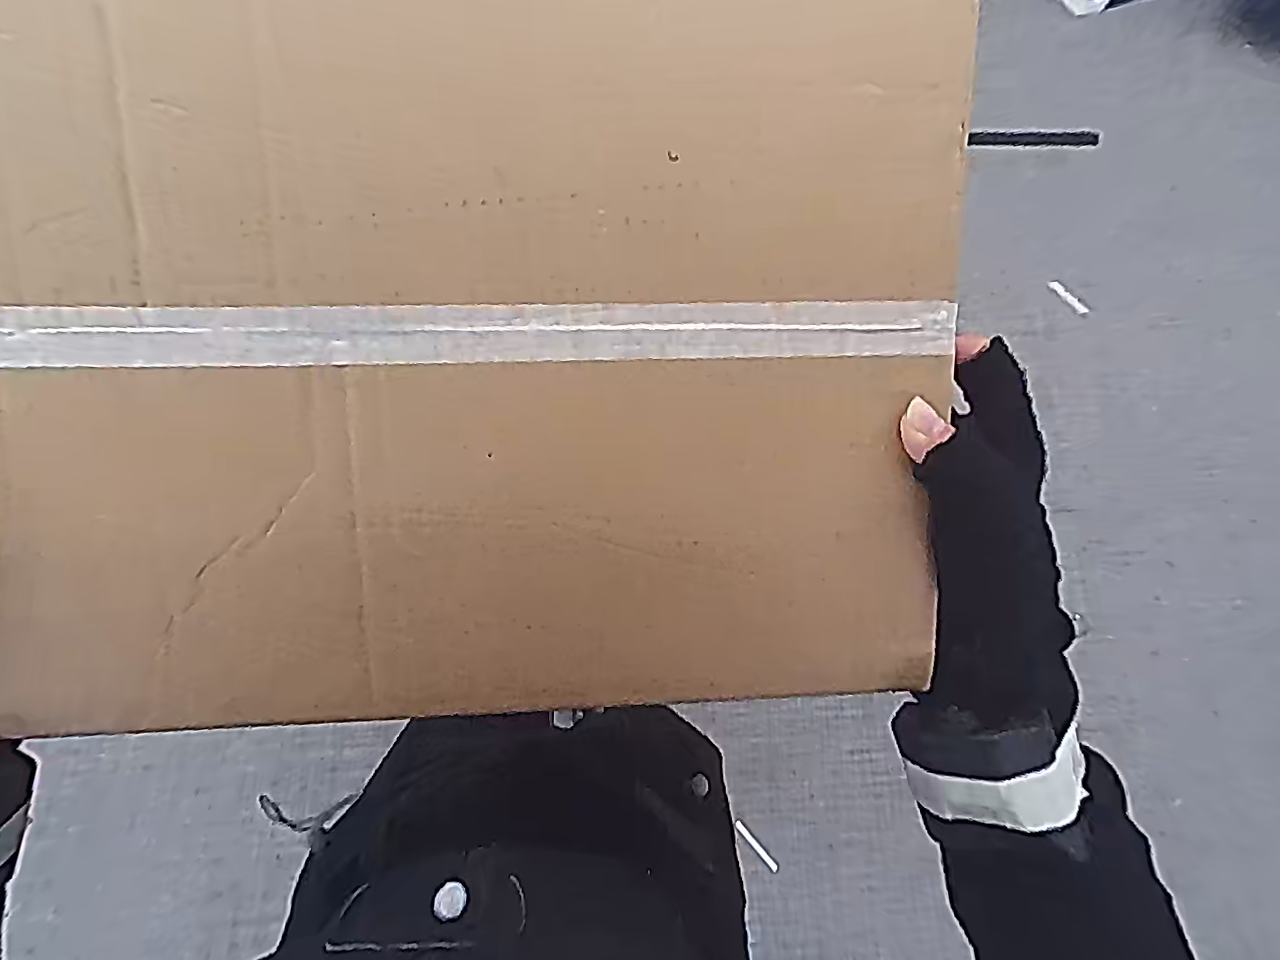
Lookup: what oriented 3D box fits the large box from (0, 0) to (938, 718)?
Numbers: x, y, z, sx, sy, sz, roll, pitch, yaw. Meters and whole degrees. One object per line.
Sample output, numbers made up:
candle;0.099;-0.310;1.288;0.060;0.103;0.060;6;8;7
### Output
large box;-0.088;-0.079;0.366;0.408;0.320;0.320;-1;98;-5
